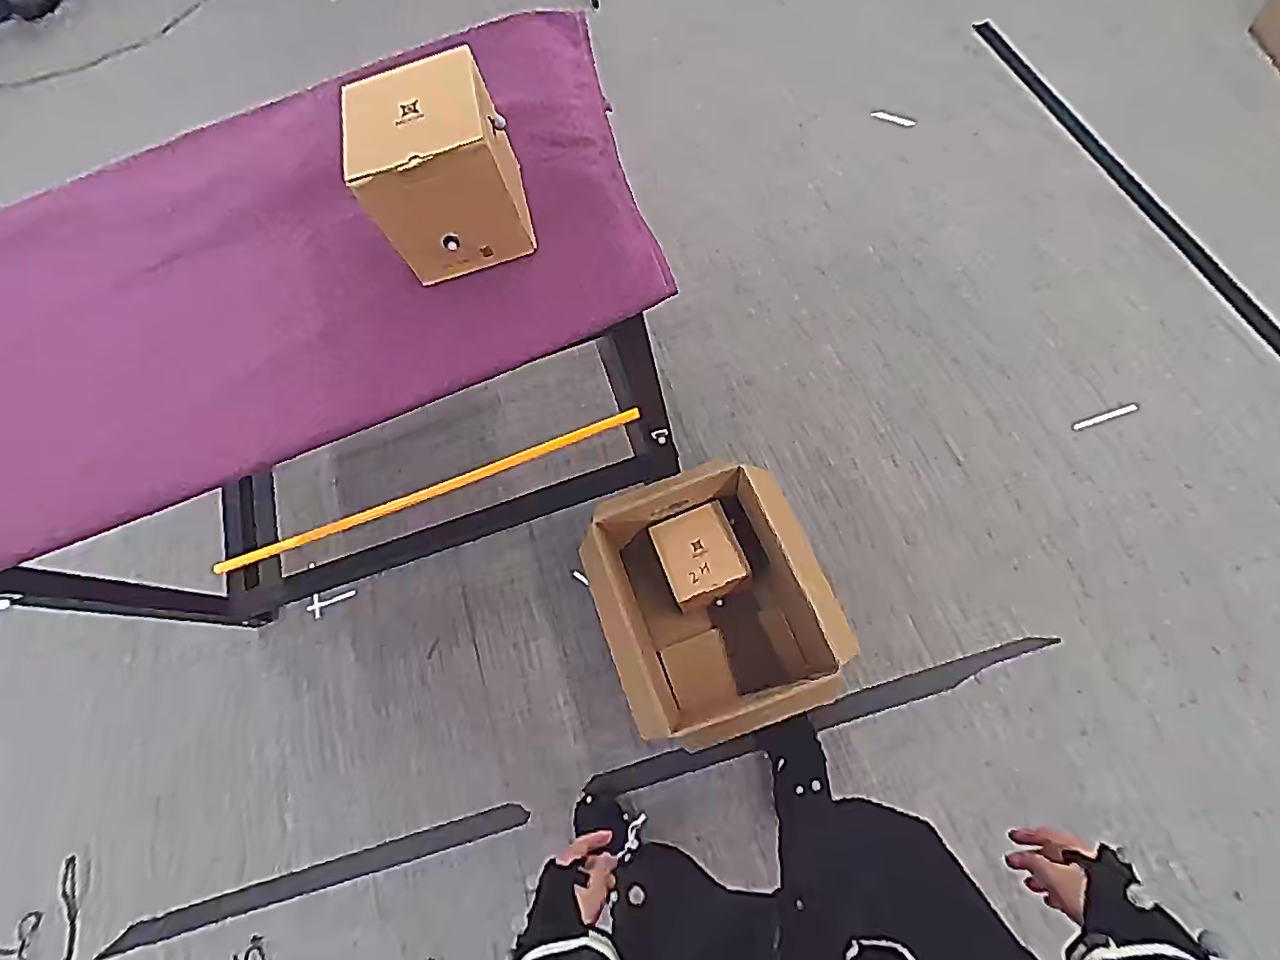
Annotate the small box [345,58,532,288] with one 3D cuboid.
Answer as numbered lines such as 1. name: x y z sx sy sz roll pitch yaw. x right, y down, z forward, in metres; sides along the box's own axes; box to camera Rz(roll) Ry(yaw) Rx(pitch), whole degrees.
1. small box: -0.254 -0.388 0.704 0.168 0.176 0.179 -17 67 4
